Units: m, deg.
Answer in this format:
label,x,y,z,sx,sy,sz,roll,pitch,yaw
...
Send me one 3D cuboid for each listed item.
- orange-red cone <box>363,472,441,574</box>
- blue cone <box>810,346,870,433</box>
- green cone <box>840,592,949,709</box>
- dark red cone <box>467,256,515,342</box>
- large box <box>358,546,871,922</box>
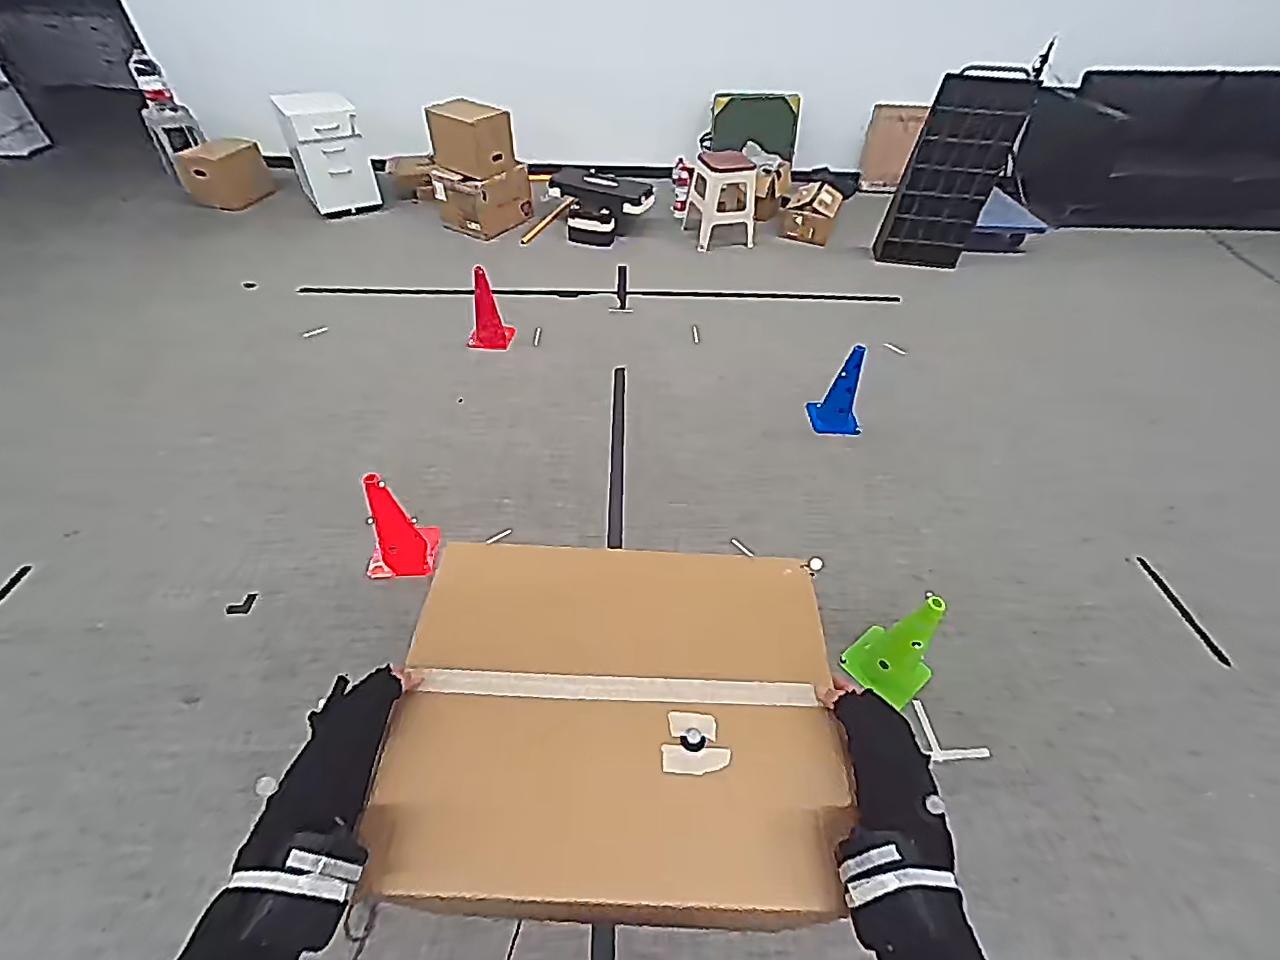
label,x,y,z,sx,sy,sz,roll,pitch,yaw
orange-red cone,-0.768,0.110,1.662,0.198,0.360,0.199,-2,48,-3
blue cone,0.854,-0.384,2.233,0.192,0.380,0.193,4,47,-1
green cone,0.722,0.418,1.445,0.202,0.368,0.200,-28,55,-28
dark red cone,-0.721,-0.850,2.538,0.201,0.394,0.202,6,47,1
large box,-0.023,0.296,0.620,0.408,0.320,0.320,3,49,-1
